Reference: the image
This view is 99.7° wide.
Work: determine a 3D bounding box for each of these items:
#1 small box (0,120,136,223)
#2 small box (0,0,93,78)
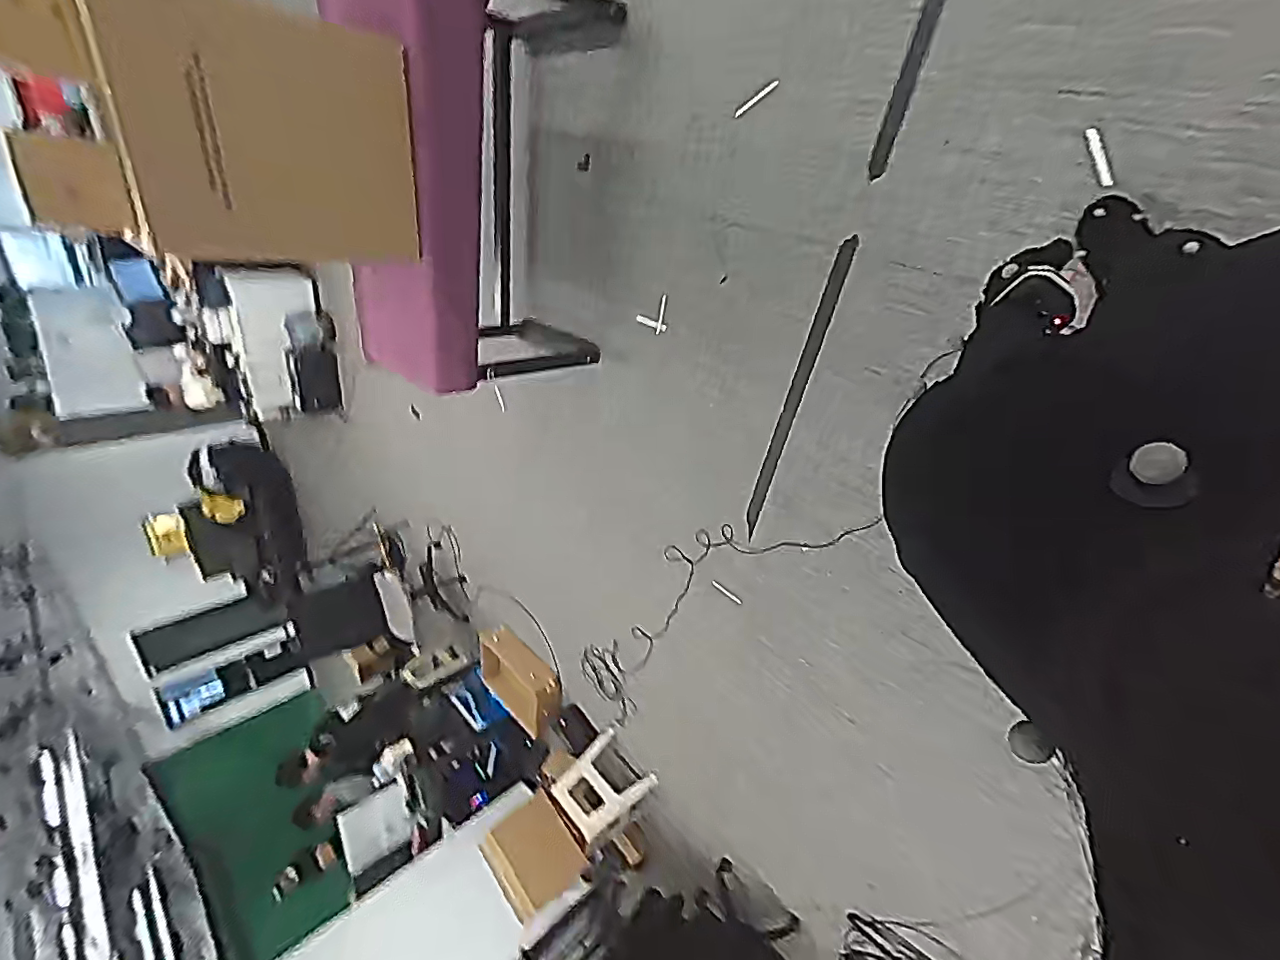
[{"bbox_3d":[-1.251,-0.673,1.189,0.168,0.176,0.179,30,125,34],"label":"small box"},{"bbox_3d":[-1.221,-0.914,1.064,0.179,0.176,0.168,28,124,37],"label":"small box"}]
